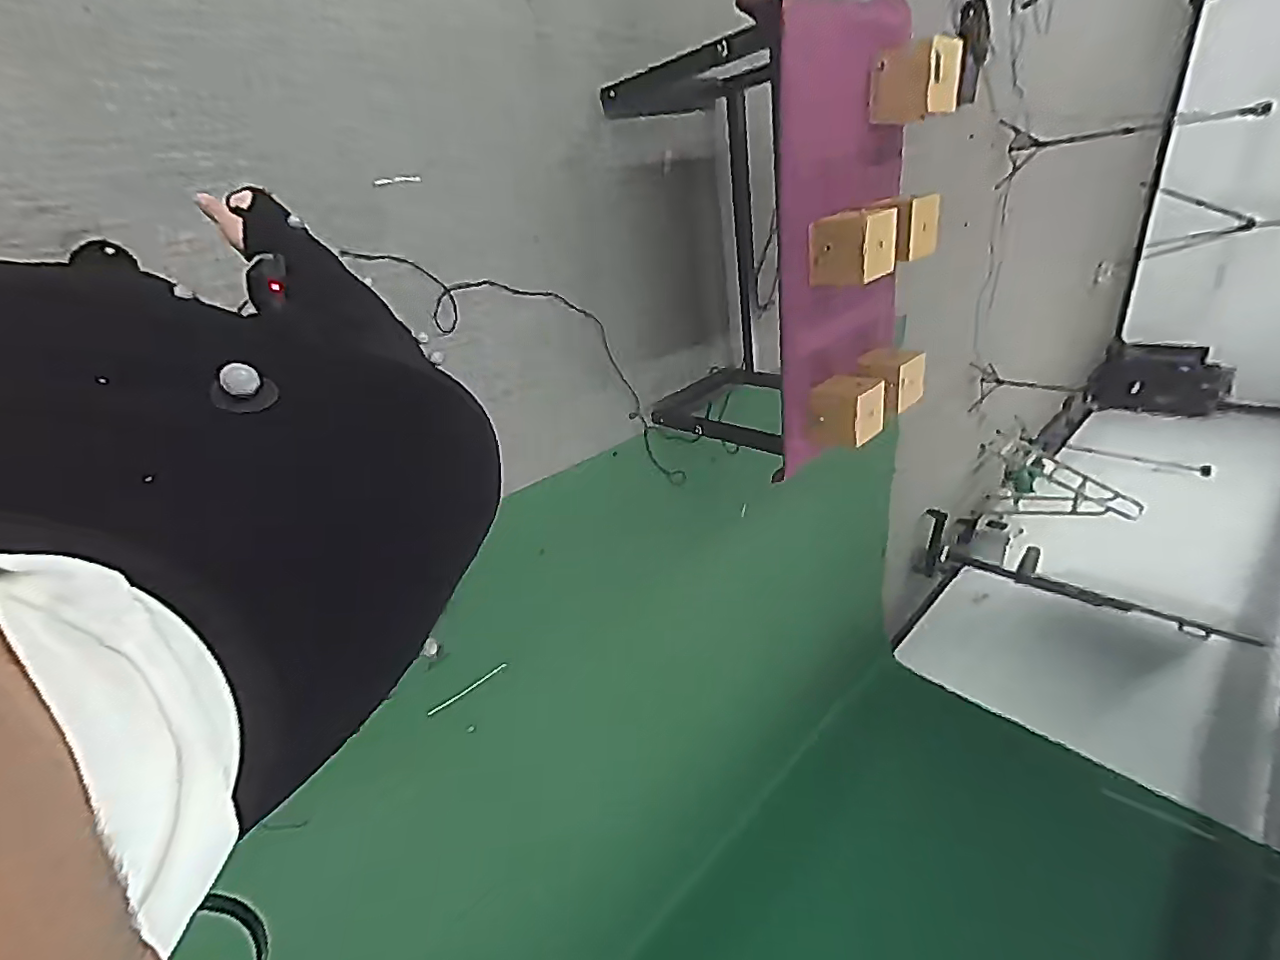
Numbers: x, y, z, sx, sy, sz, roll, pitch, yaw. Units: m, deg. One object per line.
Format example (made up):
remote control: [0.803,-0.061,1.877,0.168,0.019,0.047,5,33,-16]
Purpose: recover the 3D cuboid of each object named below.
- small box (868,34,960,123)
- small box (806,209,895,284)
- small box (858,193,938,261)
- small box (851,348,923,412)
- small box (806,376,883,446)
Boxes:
small box: [0.754,-1.106,1.503,0.179,0.176,0.168,-26,122,-33]
small box: [0.586,-0.653,1.511,0.179,0.176,0.168,-30,124,-33]
small box: [0.781,-0.771,1.653,0.179,0.176,0.168,-28,121,-33]
small box: [0.845,-0.350,1.859,0.179,0.176,0.168,-30,122,-33]
small box: [0.646,-0.224,1.712,0.179,0.176,0.168,-28,121,-34]
